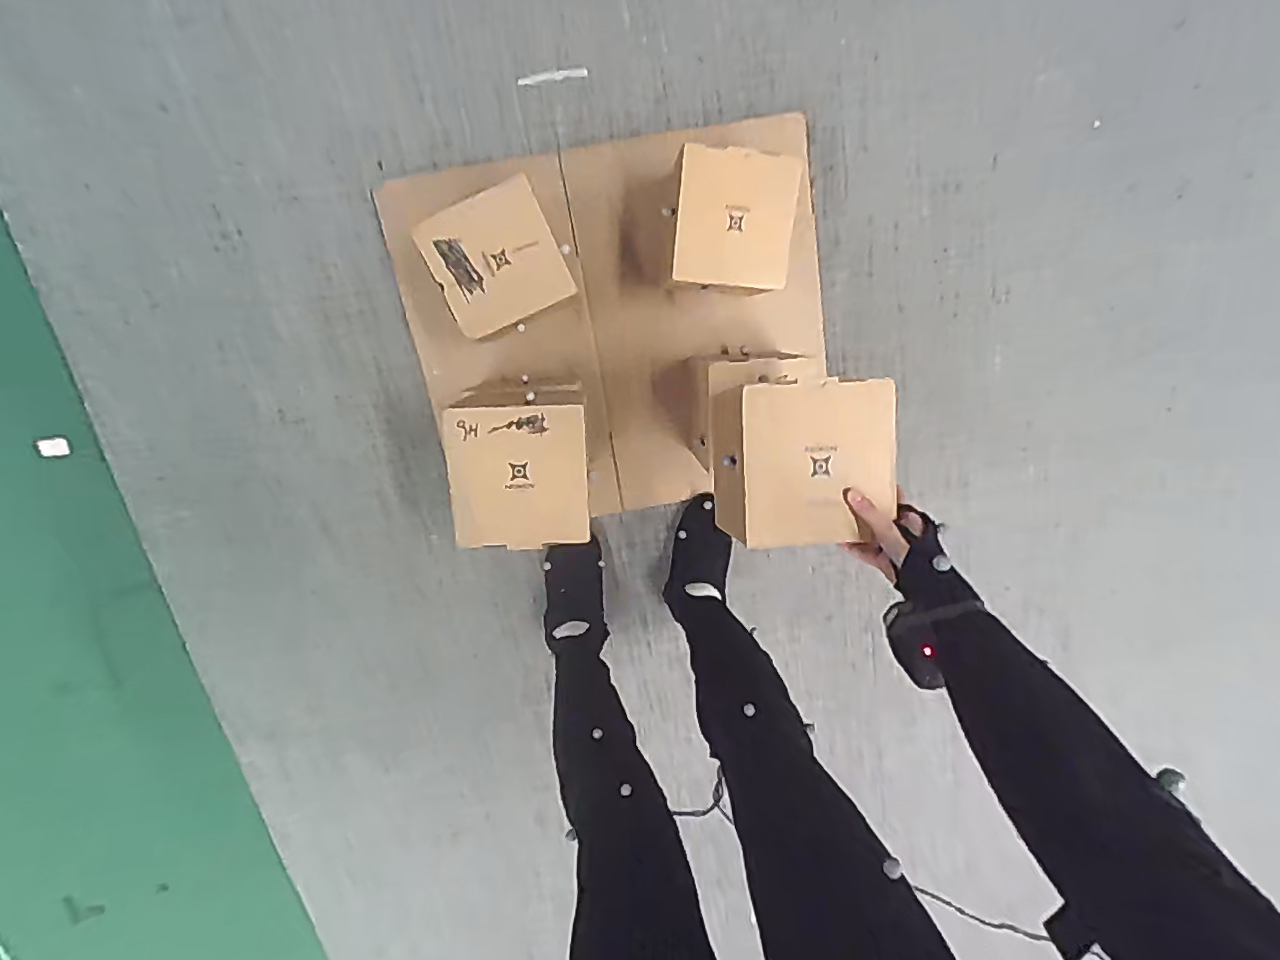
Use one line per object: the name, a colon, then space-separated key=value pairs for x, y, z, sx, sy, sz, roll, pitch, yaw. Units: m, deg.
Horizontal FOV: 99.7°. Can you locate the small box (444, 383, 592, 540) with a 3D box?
small box: x=-0.150 y=-0.033 z=0.724 sx=0.168 sy=0.176 sz=0.179 roll=-2 pitch=106 yaw=-4

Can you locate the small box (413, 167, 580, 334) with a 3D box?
small box: x=-0.200 y=-0.327 z=0.812 sx=0.179 sy=0.176 sz=0.168 roll=-24 pitch=105 yaw=1

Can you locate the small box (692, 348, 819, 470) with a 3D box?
small box: x=0.180 y=-0.123 z=0.890 sx=0.168 sy=0.176 sz=0.179 roll=-3 pitch=105 yaw=-3

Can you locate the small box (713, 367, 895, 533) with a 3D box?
small box: x=0.184 y=-0.036 z=0.652 sx=0.168 sy=0.176 sz=0.179 roll=-2 pitch=94 yaw=-4
